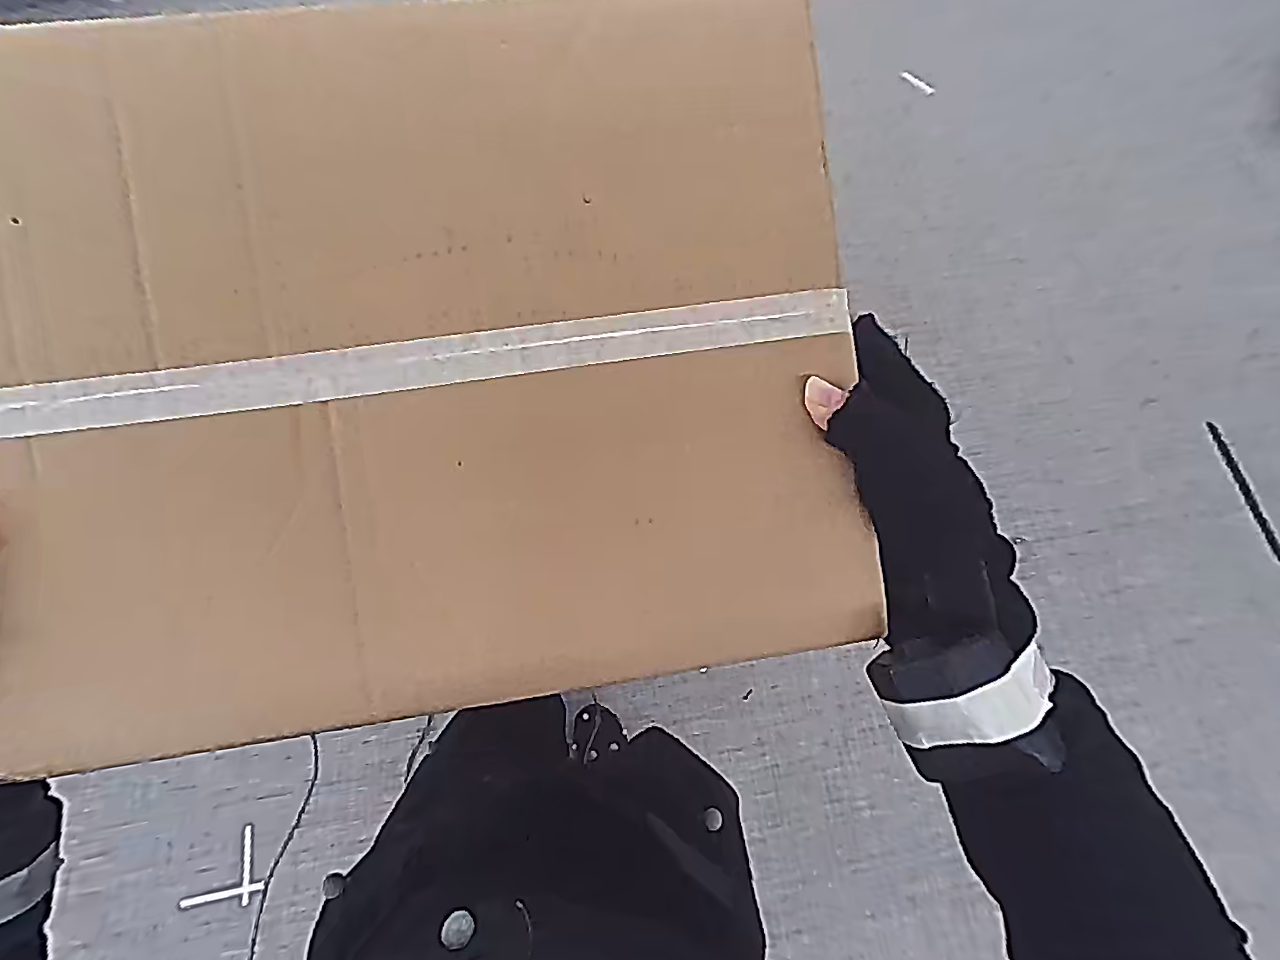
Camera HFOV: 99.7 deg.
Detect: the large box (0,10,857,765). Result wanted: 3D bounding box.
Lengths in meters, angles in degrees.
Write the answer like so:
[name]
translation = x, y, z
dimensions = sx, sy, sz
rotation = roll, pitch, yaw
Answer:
[large box]
translation = -0.115, -0.055, 0.401
dimensions = 0.408, 0.320, 0.320
rotation = -7, 91, -5
